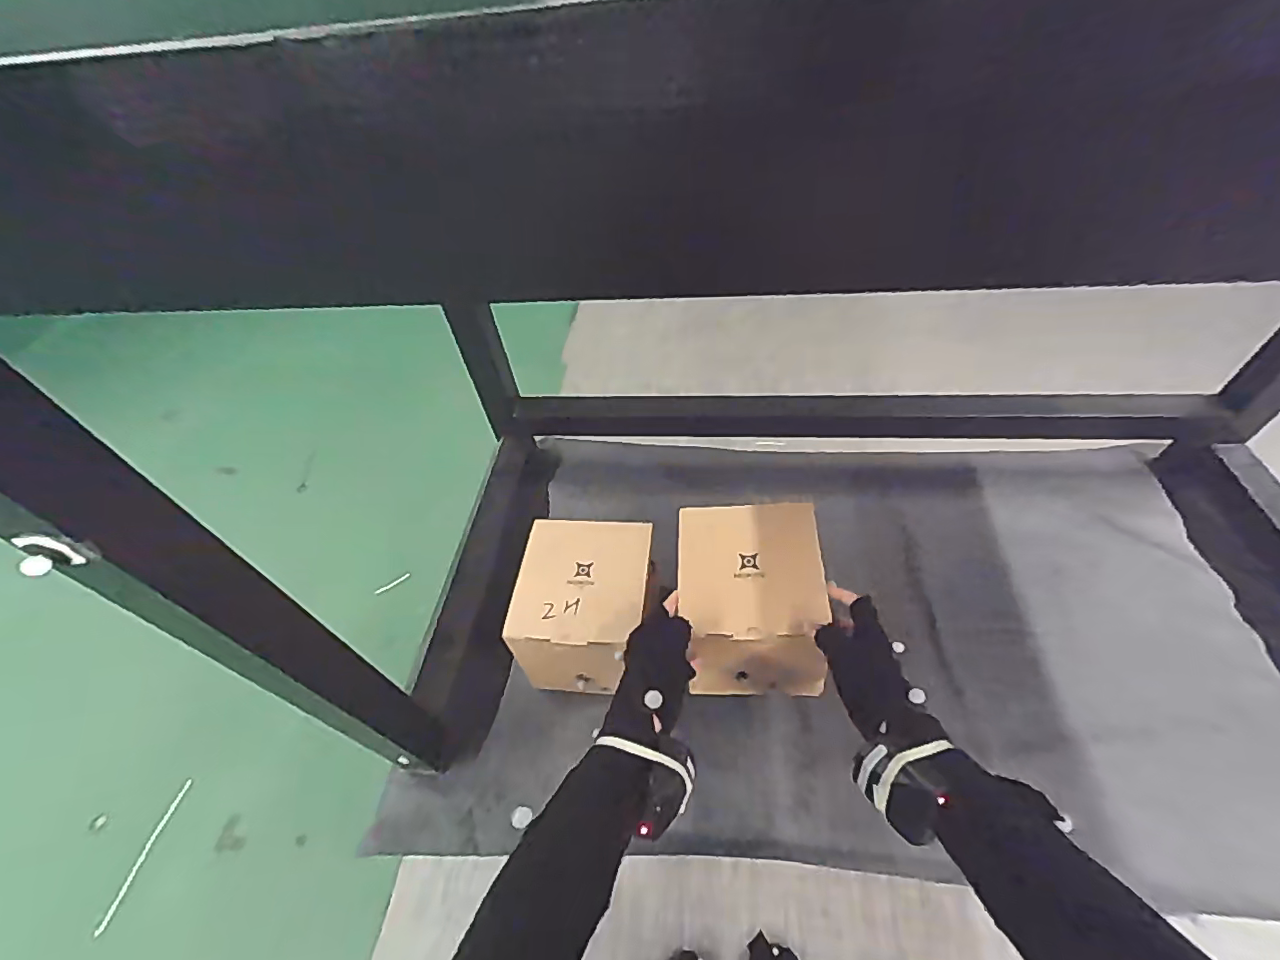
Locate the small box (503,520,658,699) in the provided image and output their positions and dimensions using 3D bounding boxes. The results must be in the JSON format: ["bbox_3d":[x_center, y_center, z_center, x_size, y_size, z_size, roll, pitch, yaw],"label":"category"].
[{"bbox_3d":[-0.066,0.176,0.741,0.168,0.176,0.179,2,49,8],"label":"small box"}]

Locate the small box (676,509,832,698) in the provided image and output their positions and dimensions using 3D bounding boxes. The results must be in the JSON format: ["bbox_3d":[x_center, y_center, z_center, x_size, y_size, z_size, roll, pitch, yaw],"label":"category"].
[{"bbox_3d":[0.136,0.156,0.684,0.168,0.176,0.179,-2,49,9],"label":"small box"}]
